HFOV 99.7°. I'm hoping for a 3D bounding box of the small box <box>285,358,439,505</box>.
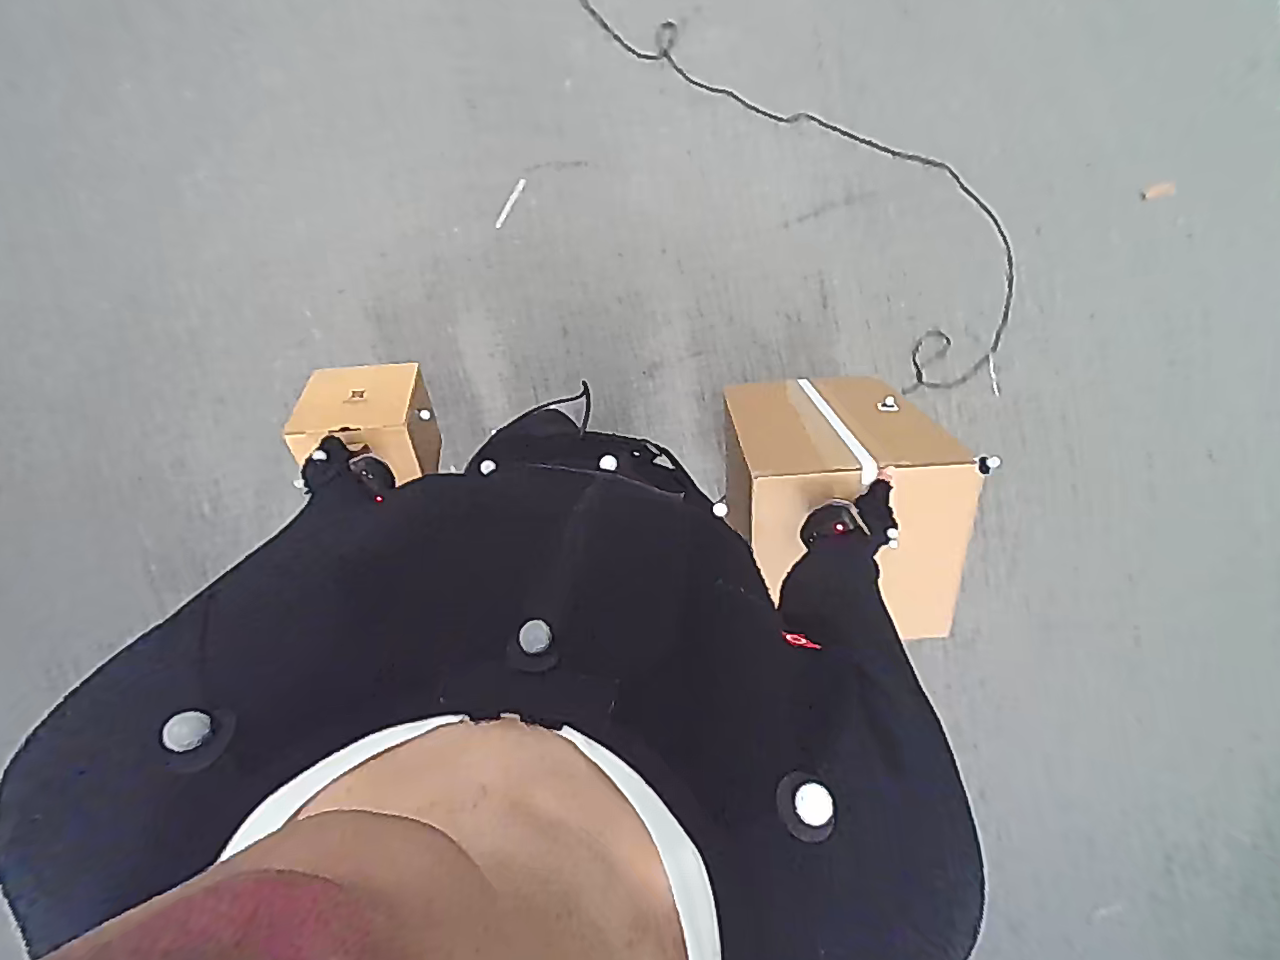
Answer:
[{"bbox_3d":[-0.436,-0.081,0.884,0.168,0.179,0.176,-5,134,-8],"label":"small box"}]
